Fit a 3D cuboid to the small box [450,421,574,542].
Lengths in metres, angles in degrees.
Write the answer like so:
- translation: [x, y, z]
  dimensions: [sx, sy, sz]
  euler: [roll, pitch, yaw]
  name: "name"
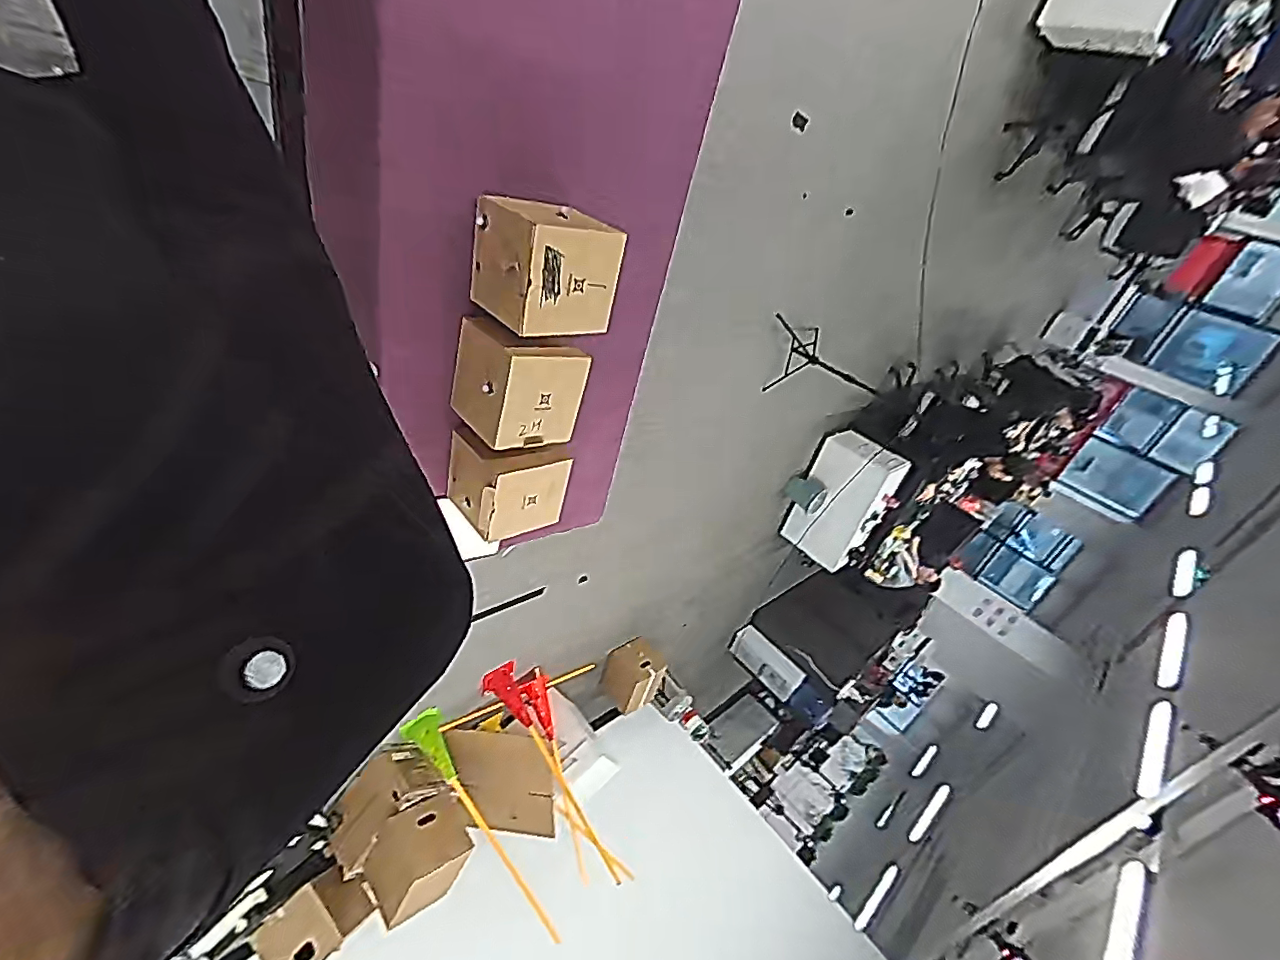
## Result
- translation: [-0.265, -0.004, 1.096]
  dimensions: [0.179, 0.176, 0.168]
  euler: [-15, 134, -43]
  name: "small box"
